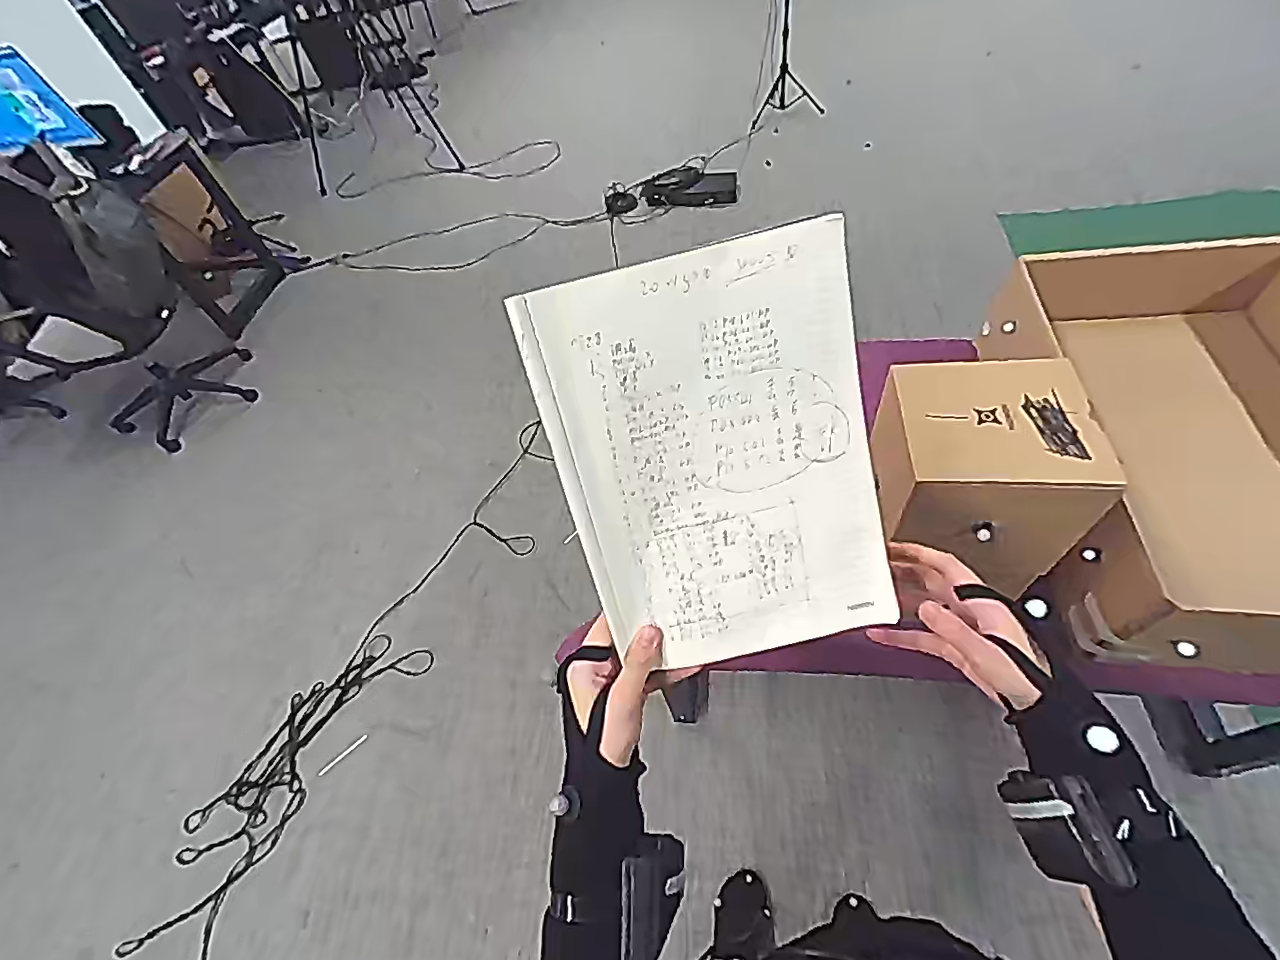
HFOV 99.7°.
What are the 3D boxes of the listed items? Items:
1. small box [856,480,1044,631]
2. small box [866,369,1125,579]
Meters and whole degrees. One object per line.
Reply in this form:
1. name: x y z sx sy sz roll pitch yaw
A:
1. small box: 0.396 0.089 0.728 0.168 0.176 0.179 1 52 12
2. small box: 0.363 -0.003 0.595 0.179 0.176 0.168 1 52 12
